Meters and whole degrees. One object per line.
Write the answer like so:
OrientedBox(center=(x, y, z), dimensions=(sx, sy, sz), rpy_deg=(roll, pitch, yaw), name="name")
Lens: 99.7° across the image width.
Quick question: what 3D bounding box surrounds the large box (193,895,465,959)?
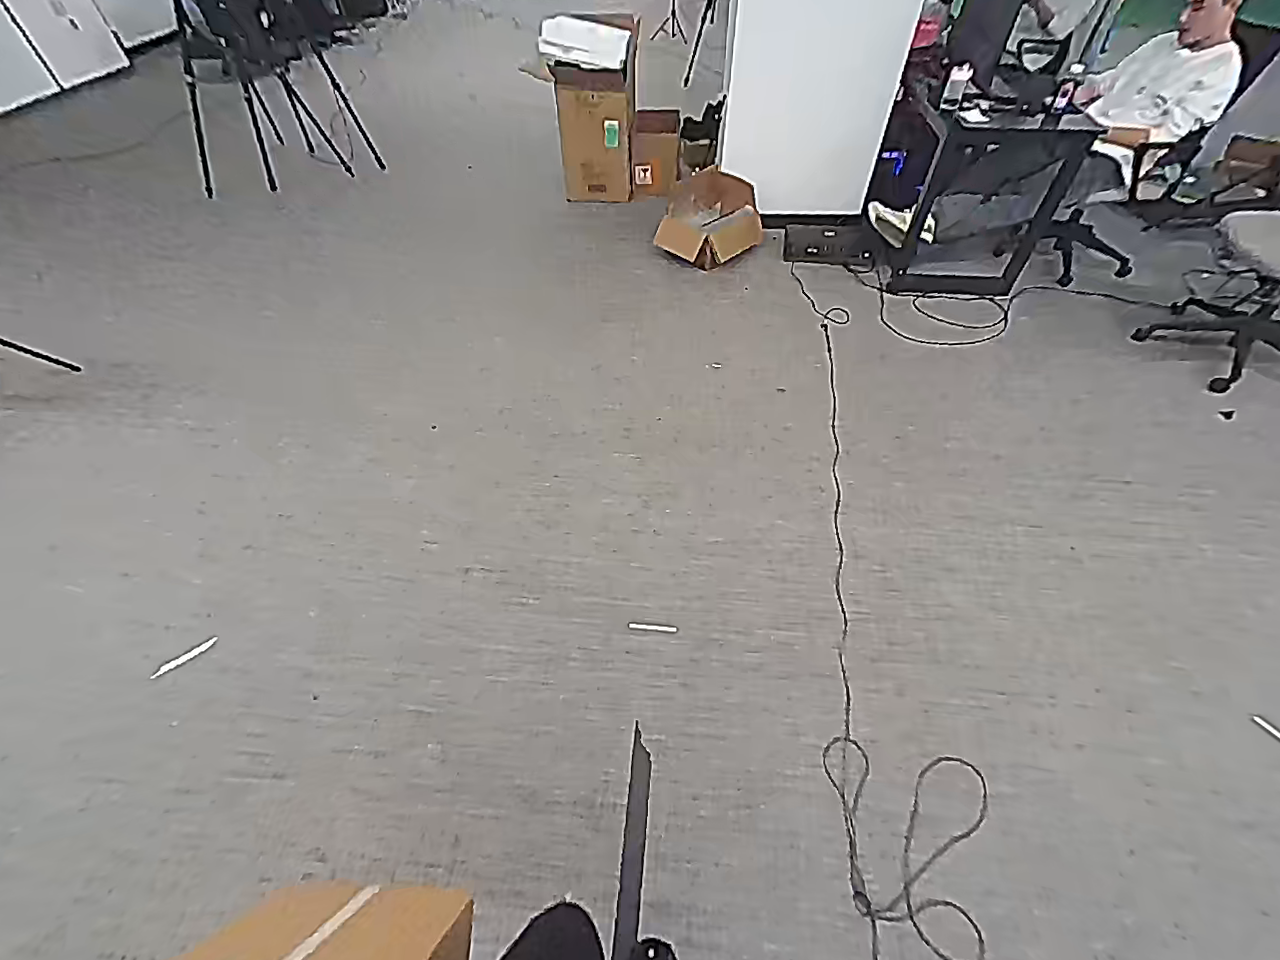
OrientedBox(center=(-0.434, 0.761, 0.632), dimensions=(0.320, 0.408, 0.320), rpy_deg=(-1, 74, 2), name="large box")
